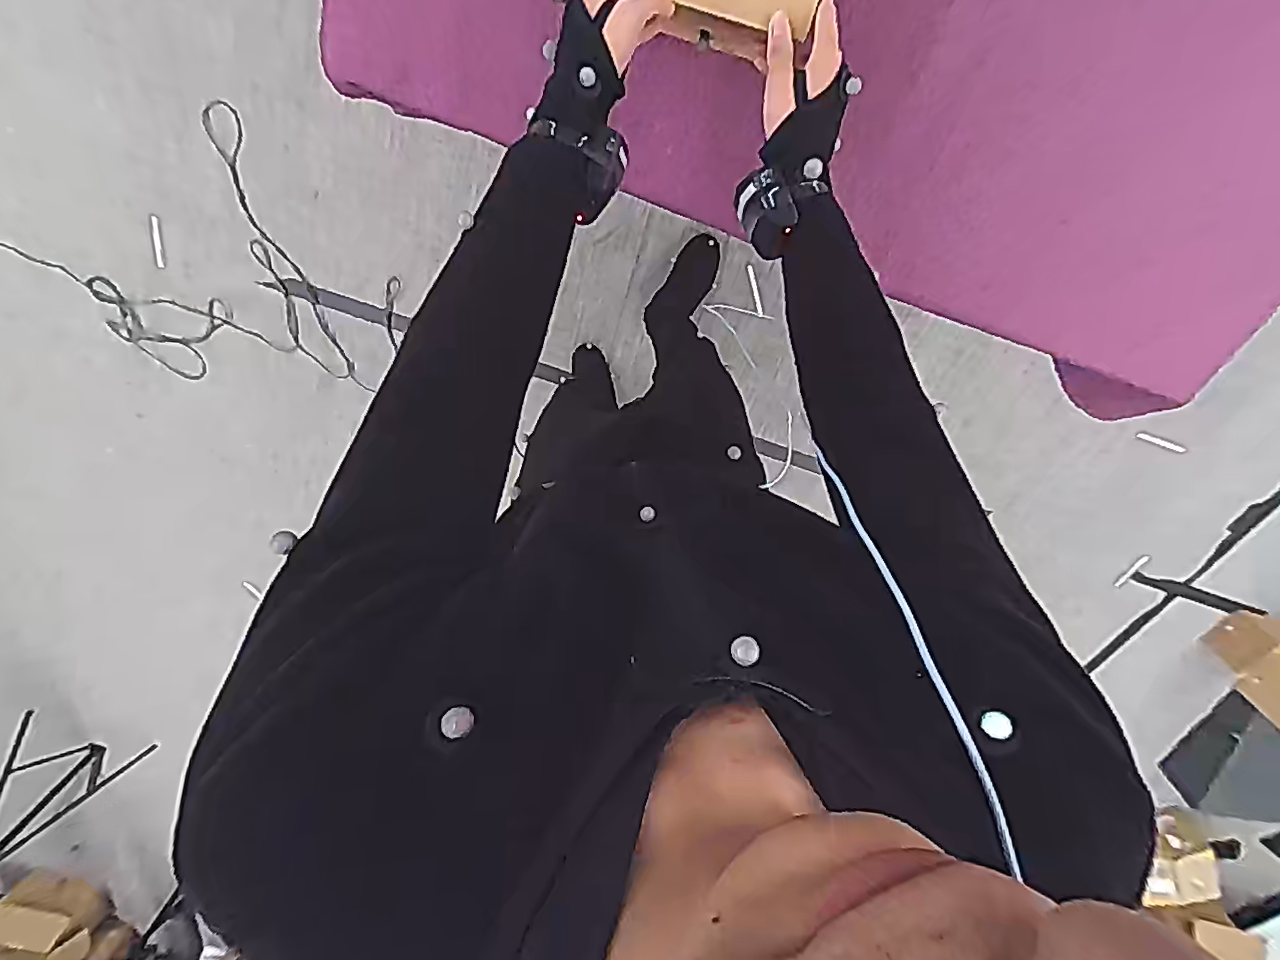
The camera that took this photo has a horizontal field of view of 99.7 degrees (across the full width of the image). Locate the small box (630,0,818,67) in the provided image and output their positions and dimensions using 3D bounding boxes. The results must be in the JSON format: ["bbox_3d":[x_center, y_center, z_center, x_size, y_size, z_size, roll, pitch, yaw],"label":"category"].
[{"bbox_3d":[0.093,-0.507,0.490,0.168,0.176,0.179,15,121,-5],"label":"small box"}]
